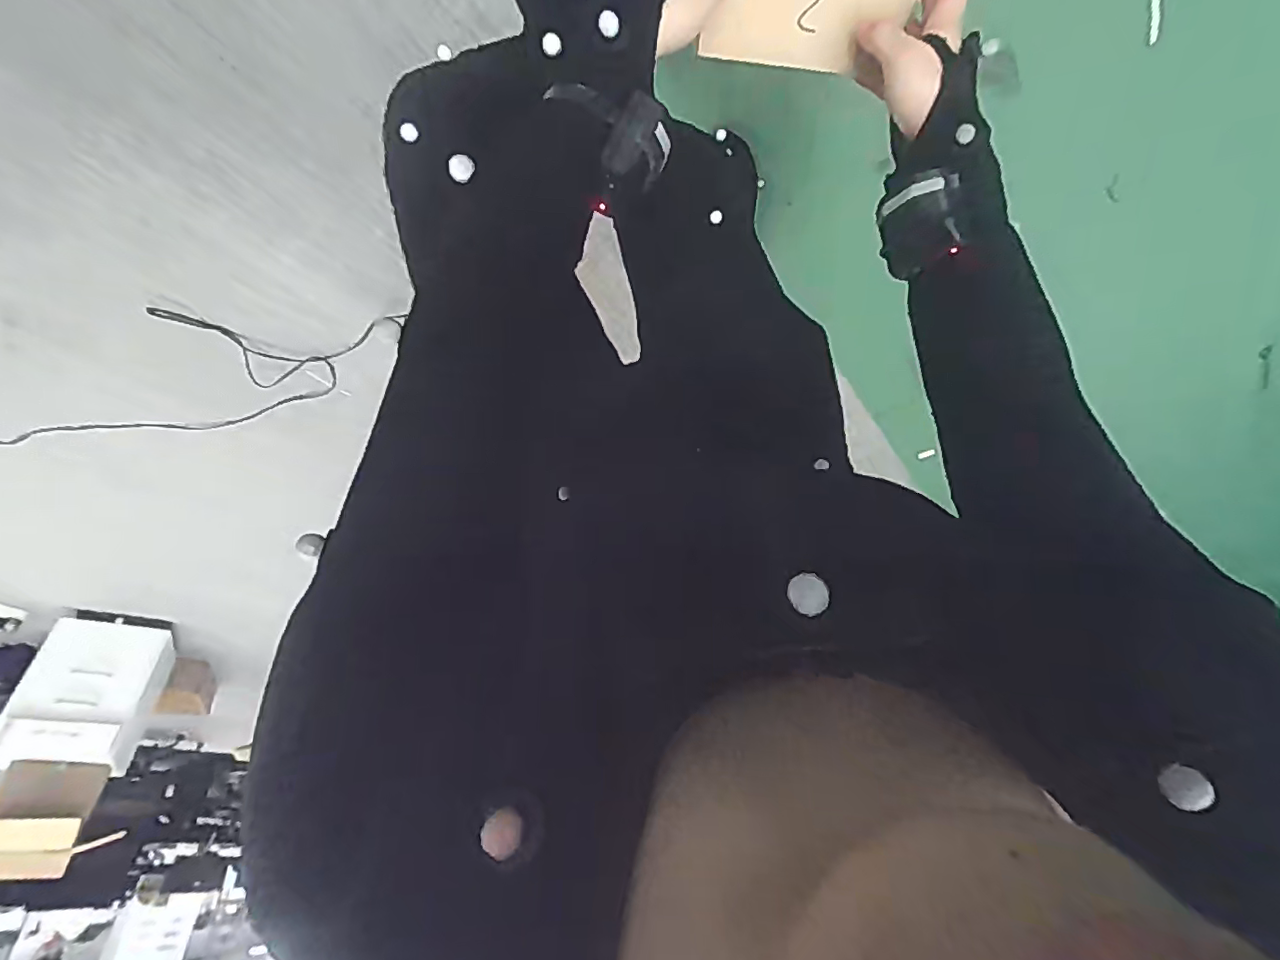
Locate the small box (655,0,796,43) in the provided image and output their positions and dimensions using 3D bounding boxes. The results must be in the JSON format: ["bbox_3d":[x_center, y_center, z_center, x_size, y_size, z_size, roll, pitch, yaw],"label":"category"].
[{"bbox_3d":[0.109,-0.665,0.643,0.168,0.176,0.179,2,144,-6],"label":"small box"}]
